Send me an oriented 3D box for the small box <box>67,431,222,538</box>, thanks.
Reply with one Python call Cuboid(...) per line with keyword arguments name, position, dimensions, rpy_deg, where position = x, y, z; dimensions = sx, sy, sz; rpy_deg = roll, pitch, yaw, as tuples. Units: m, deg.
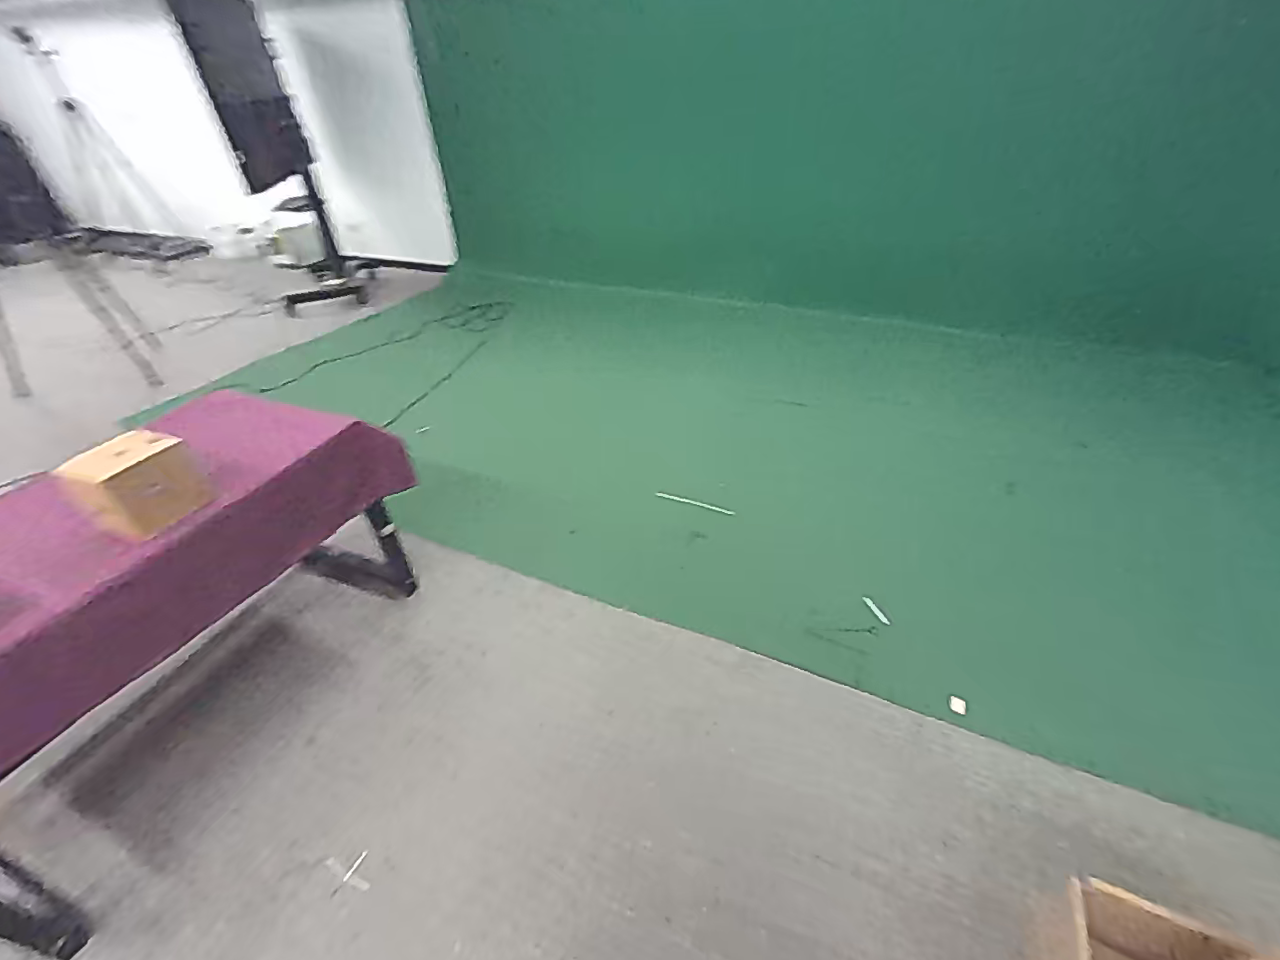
Cuboid(name="small box", position=(-1.135, 0.011, 1.256), dimensions=(0.168, 0.176, 0.179), rpy_deg=(11, 40, 18))
